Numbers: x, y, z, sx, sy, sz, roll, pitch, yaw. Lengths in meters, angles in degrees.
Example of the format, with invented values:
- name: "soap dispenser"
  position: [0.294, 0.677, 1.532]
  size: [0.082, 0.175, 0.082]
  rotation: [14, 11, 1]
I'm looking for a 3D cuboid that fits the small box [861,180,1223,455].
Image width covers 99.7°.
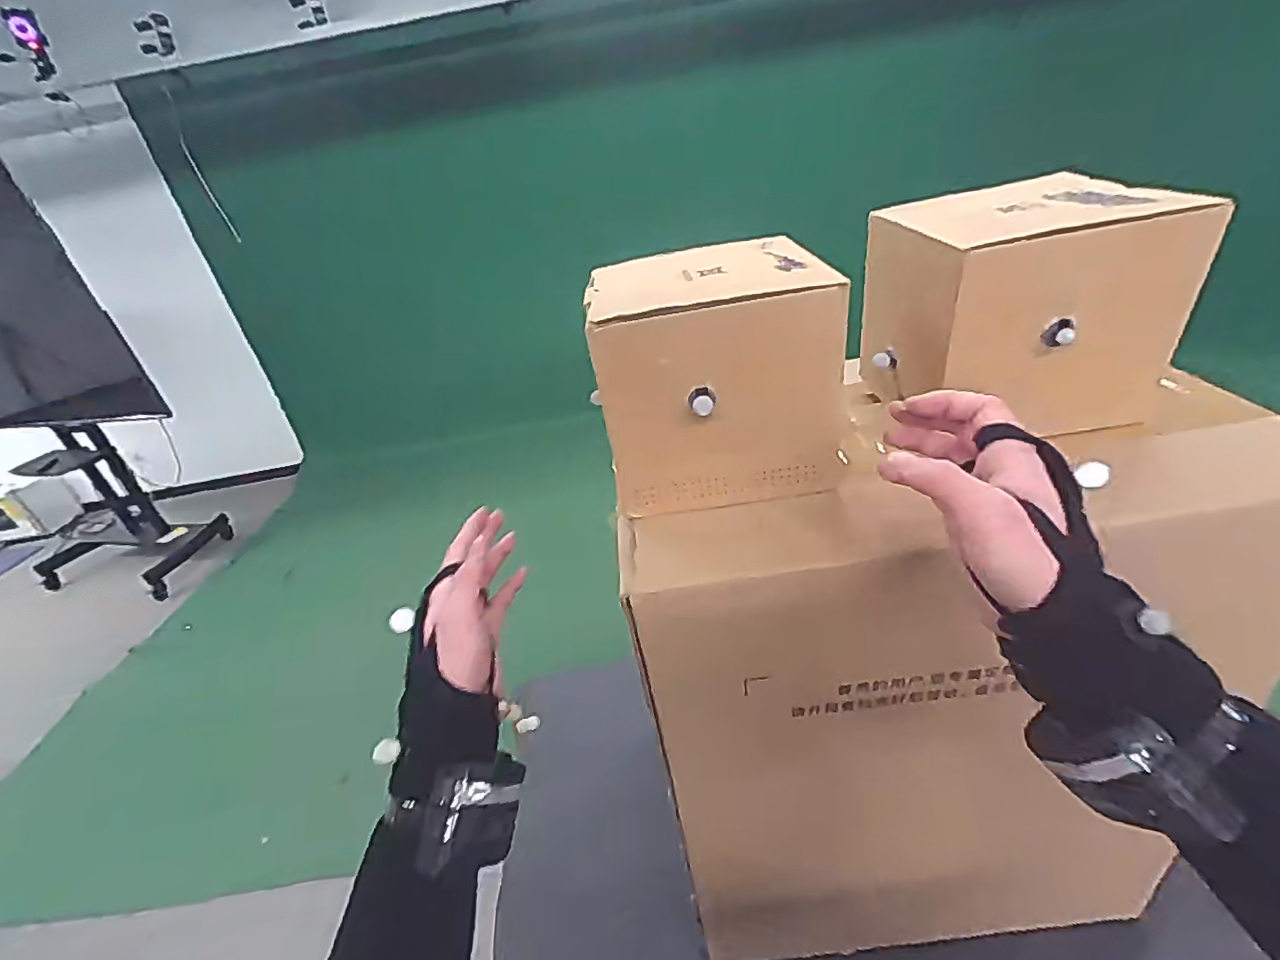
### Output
- name: "small box"
  position: [0.309, -0.141, 0.469]
  size: [0.179, 0.176, 0.168]
  rotation: [-9, 34, 4]

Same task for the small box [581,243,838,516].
- name: "small box"
  position: [0.057, -0.086, 0.465]
  size: [0.179, 0.176, 0.168]
  rotation: [-9, 34, 3]
